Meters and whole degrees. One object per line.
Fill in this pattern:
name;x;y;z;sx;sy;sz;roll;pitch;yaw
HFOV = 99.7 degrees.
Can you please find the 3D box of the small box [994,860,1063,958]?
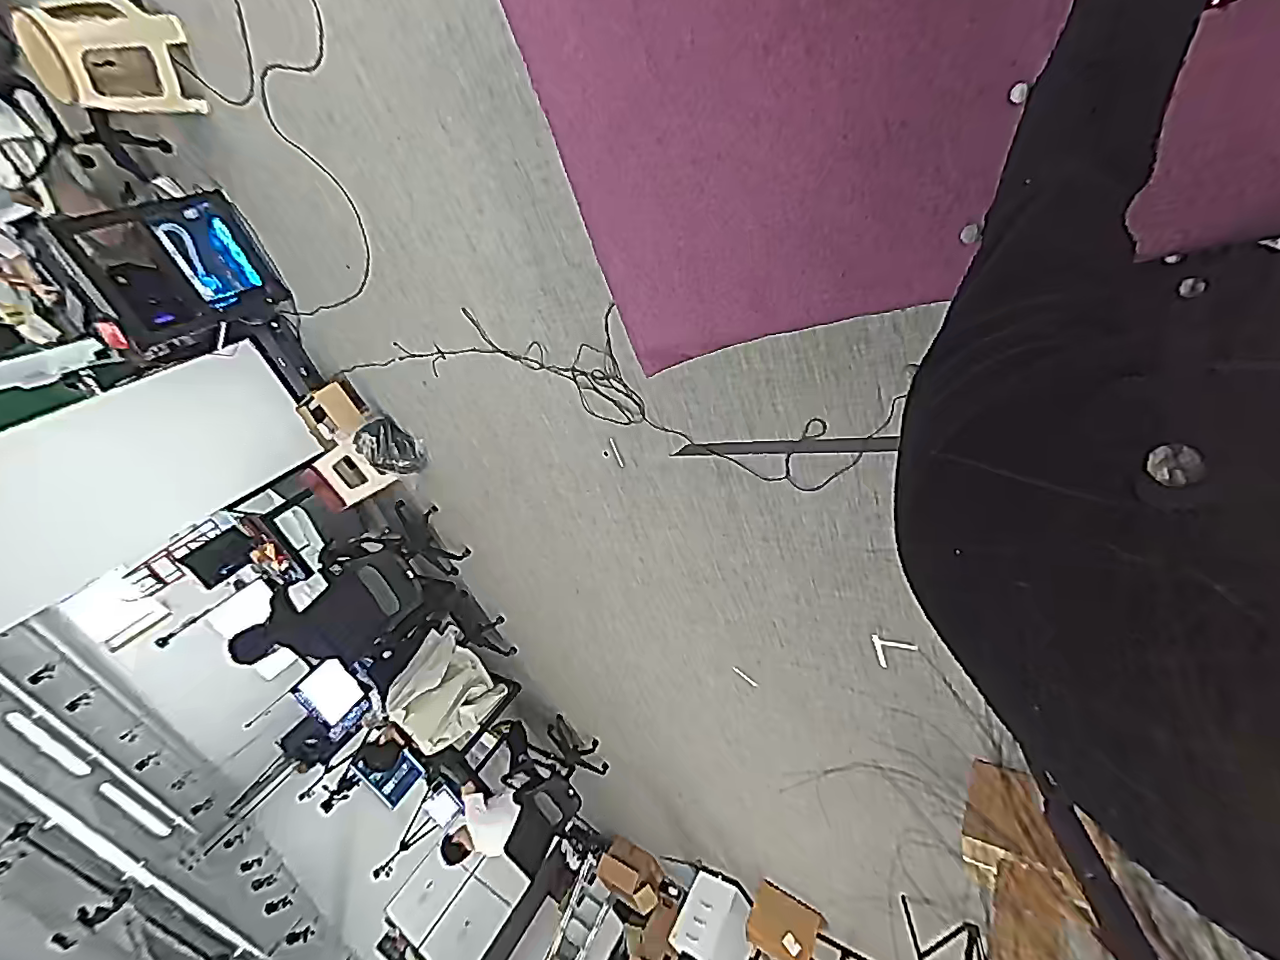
small box;1.295;1.415;1.796;0.179;0.176;0.168;0;122;41
